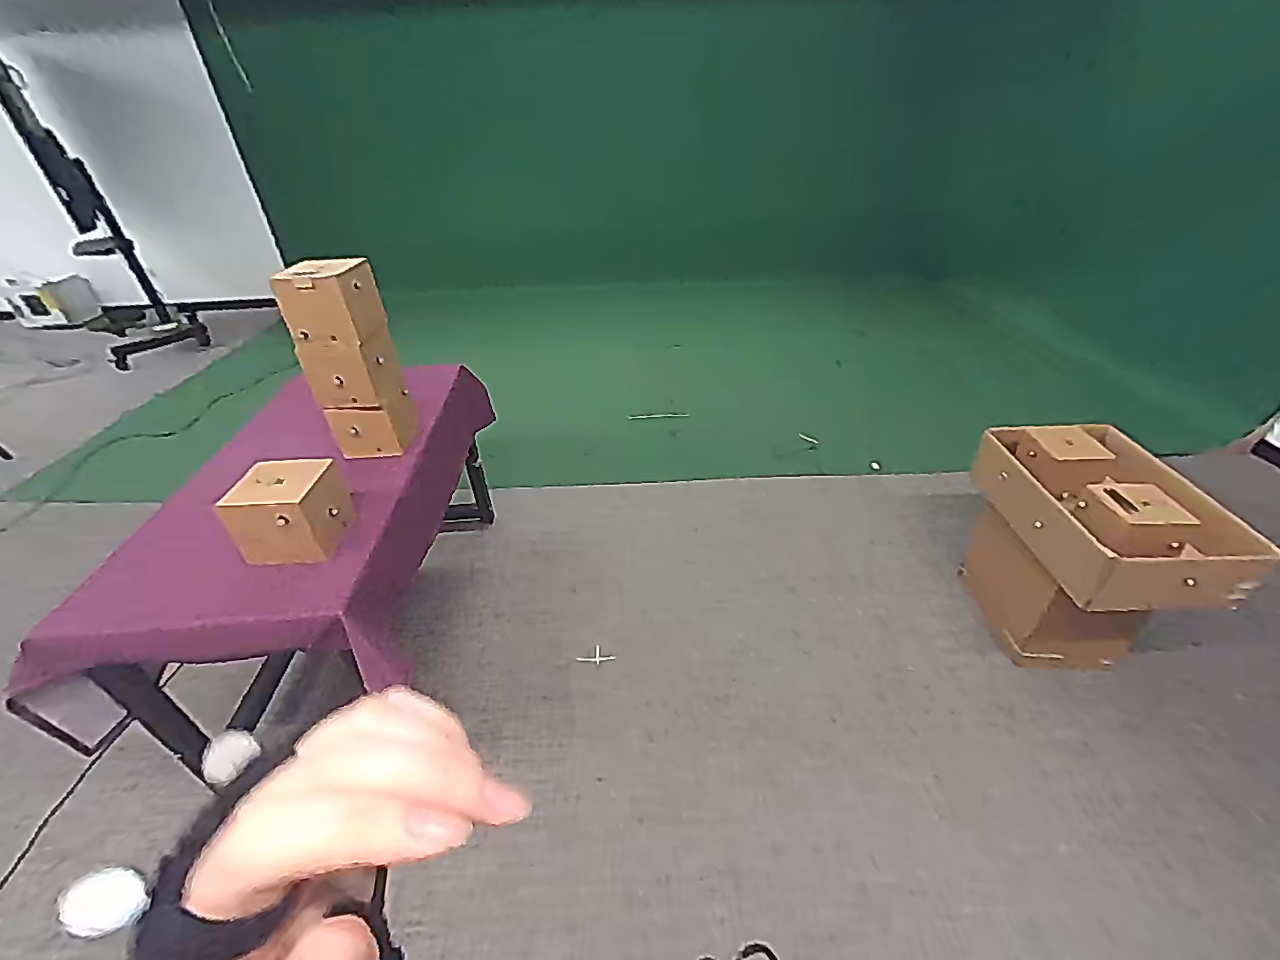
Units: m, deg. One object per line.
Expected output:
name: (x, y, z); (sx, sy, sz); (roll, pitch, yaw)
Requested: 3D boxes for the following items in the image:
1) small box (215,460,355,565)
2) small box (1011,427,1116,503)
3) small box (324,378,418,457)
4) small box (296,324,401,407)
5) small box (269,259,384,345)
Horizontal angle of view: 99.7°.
small box: (-0.769, 0.073, 1.199); (0.179, 0.176, 0.168); (-3, 35, 1)
small box: (1.284, -0.048, 1.658); (0.168, 0.176, 0.179); (-1, 37, 4)
small box: (-0.758, -0.175, 1.547); (0.168, 0.176, 0.179); (-4, 35, -1)
small box: (-0.766, -0.305, 1.446); (0.168, 0.176, 0.179); (-1, 36, 2)
small box: (-0.772, -0.444, 1.357); (0.168, 0.176, 0.179); (-2, 34, 2)
